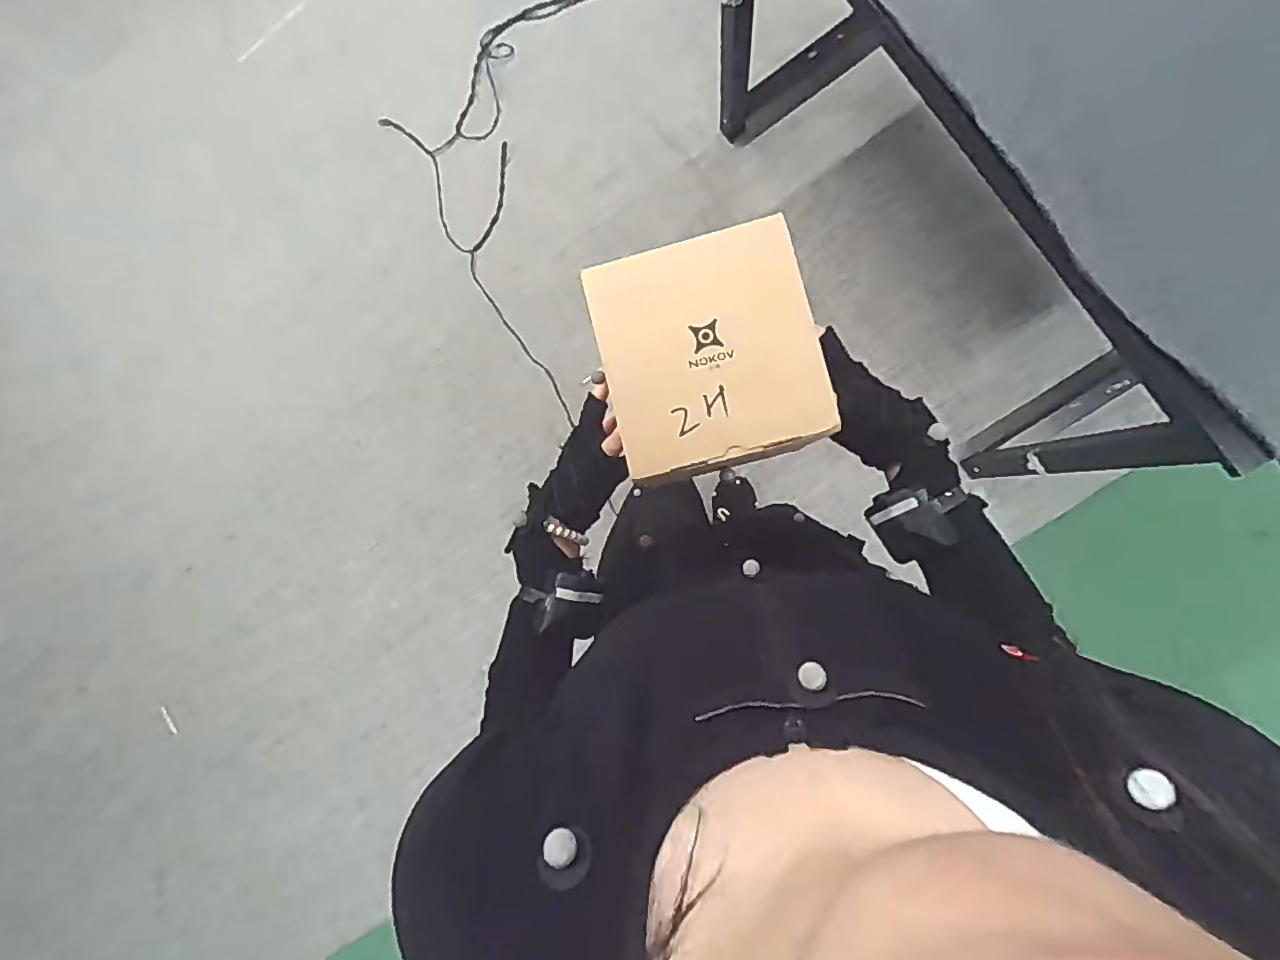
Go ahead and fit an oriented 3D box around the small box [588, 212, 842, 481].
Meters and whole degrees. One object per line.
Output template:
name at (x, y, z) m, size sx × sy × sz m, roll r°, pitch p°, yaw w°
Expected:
small box at (0.060, -0.102, 0.495) m, size 0.168 × 0.176 × 0.179 m, roll -14°, pitch 87°, yaw 4°
